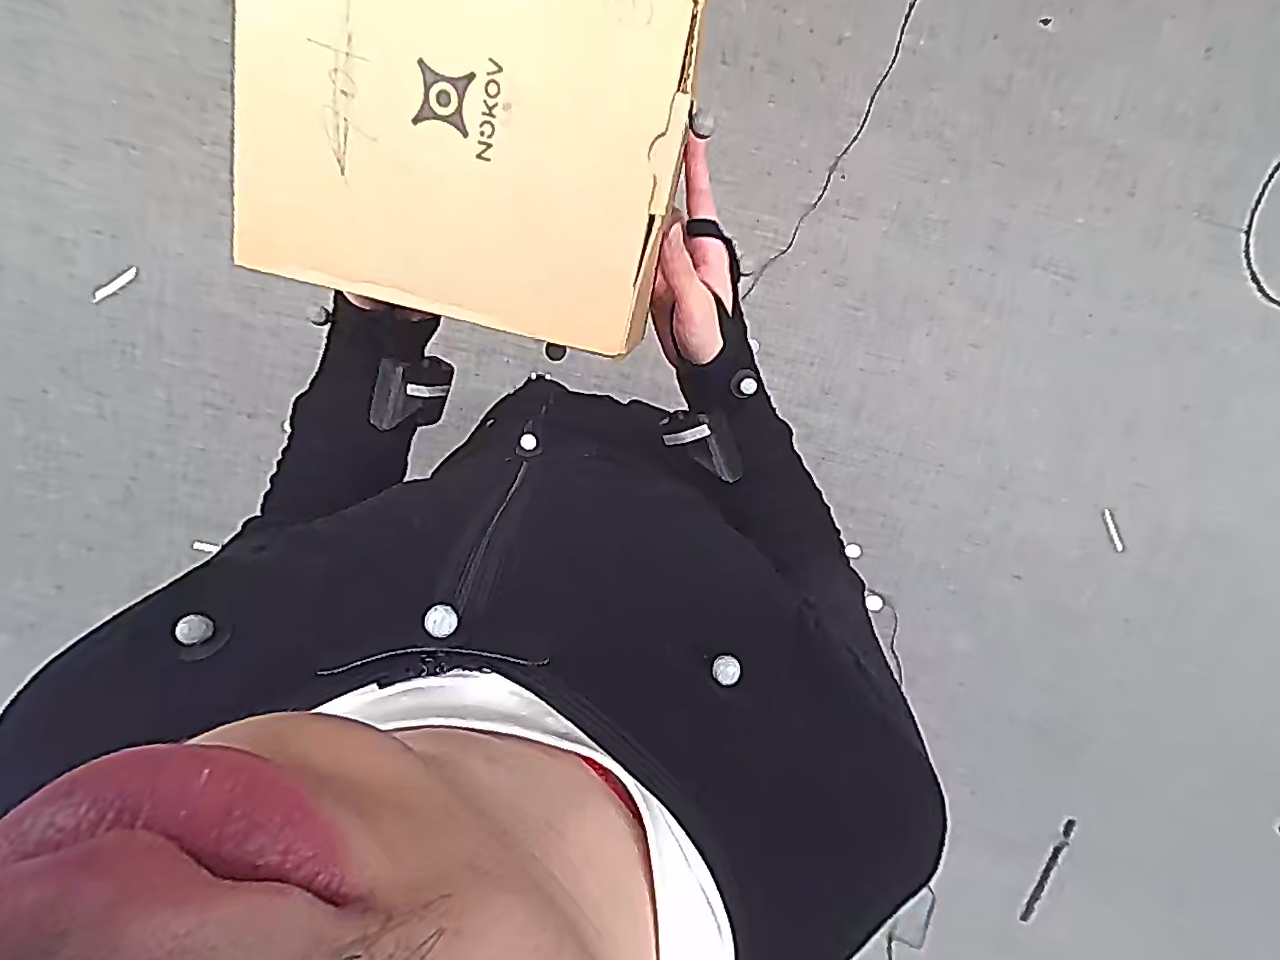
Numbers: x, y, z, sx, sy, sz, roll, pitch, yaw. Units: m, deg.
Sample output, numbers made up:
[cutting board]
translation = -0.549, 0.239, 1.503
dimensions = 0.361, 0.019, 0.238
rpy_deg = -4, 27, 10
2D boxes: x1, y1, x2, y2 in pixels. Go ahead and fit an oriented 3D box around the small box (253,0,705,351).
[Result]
[small box]
translation = -0.071, -0.177, 0.305
dimensions = 0.179, 0.176, 0.168
rpy_deg = 13, 105, -1
